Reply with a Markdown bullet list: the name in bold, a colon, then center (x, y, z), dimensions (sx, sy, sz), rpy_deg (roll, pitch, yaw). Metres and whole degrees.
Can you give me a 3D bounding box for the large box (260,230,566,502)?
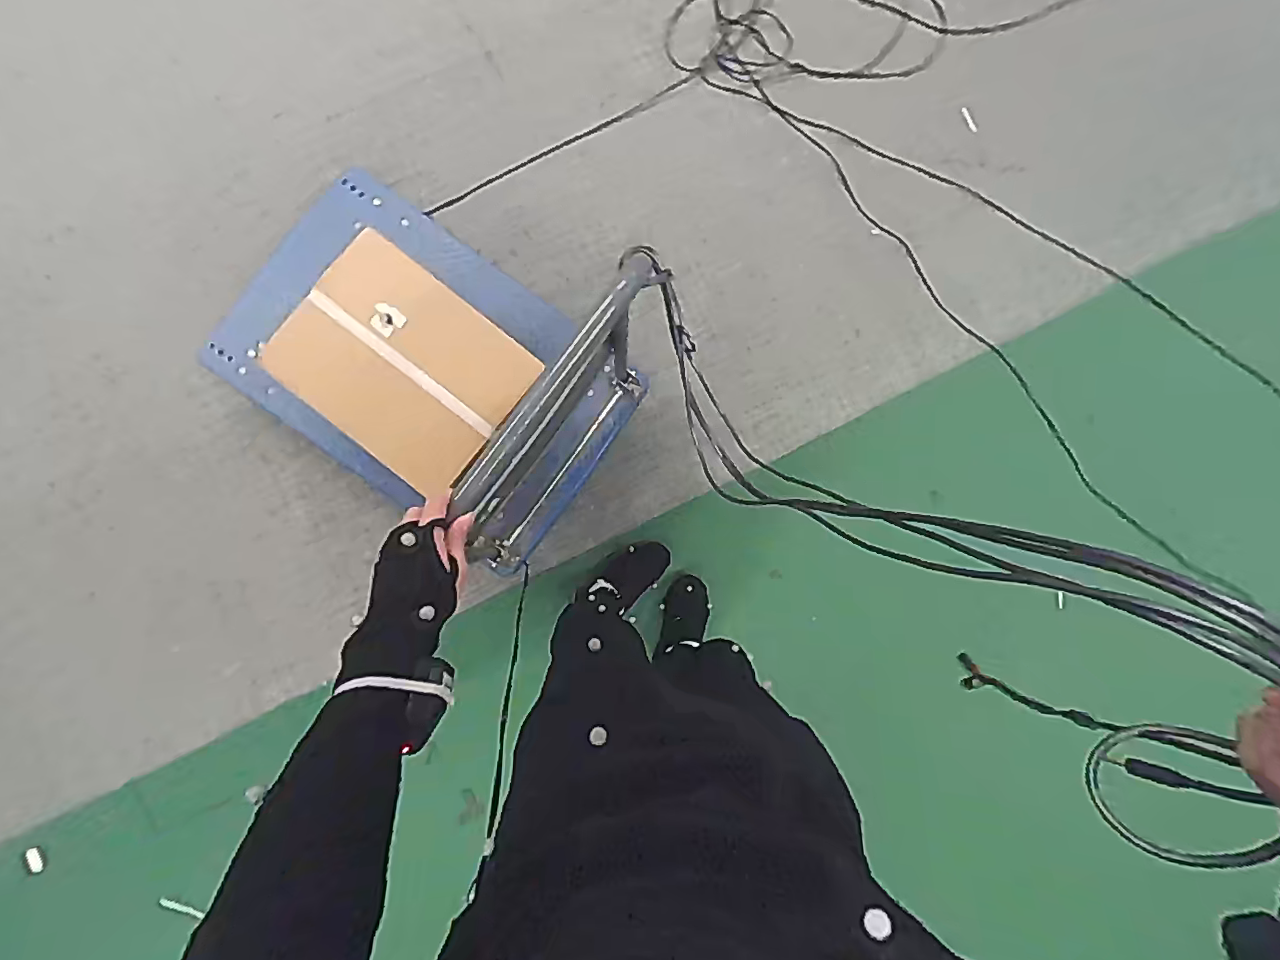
- **large box**: center (-0.409, -0.193, 1.081), dimensions (0.408, 0.320, 0.320), rpy_deg (39, 86, 0)
